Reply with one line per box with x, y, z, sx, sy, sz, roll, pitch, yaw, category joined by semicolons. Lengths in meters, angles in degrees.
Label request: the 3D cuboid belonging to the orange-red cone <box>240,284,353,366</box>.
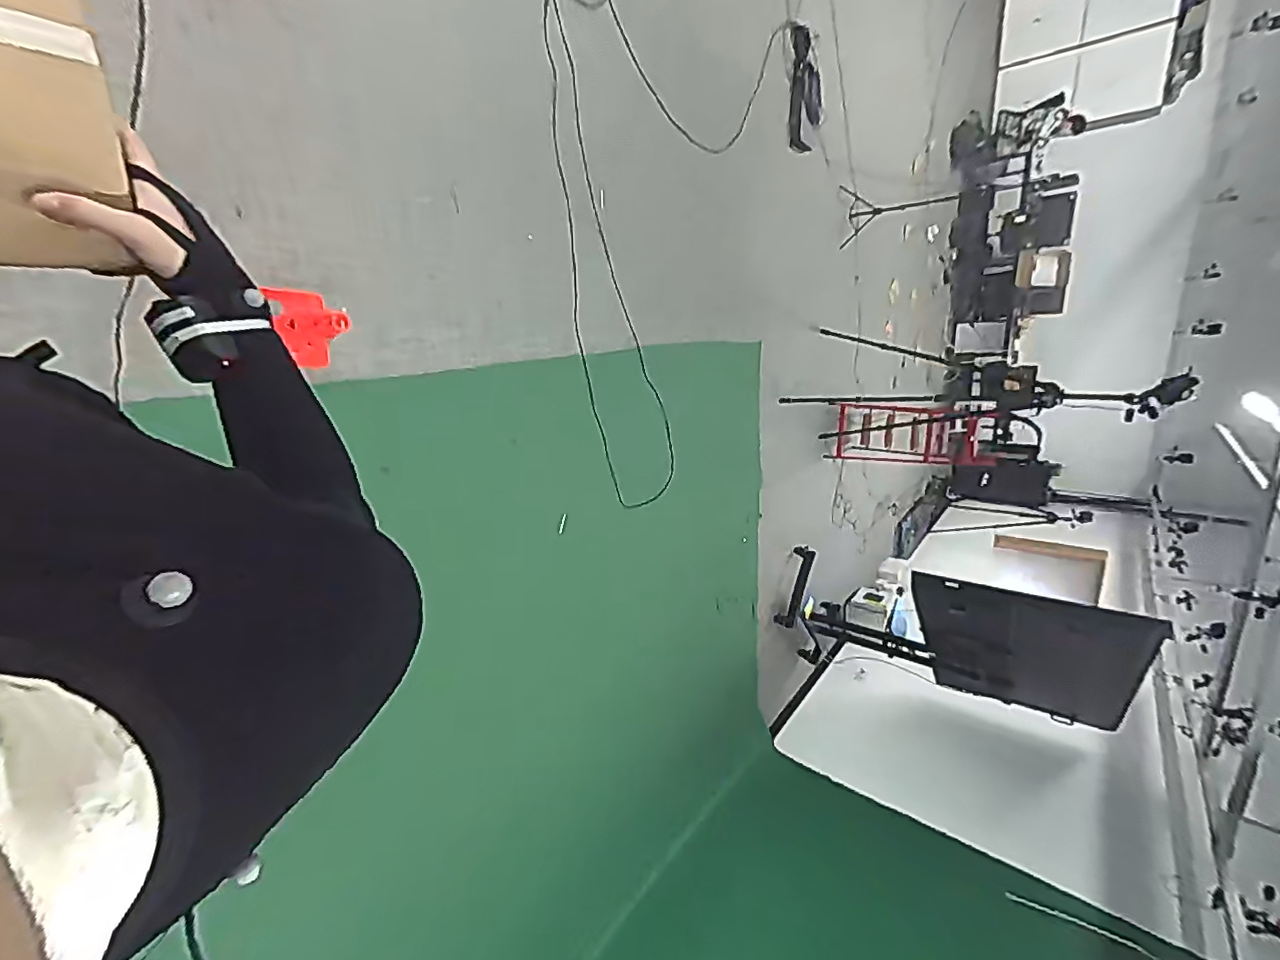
-0.799;-0.380;1.321;0.199;0.360;0.198;-12;108;-51;orange-red cone
